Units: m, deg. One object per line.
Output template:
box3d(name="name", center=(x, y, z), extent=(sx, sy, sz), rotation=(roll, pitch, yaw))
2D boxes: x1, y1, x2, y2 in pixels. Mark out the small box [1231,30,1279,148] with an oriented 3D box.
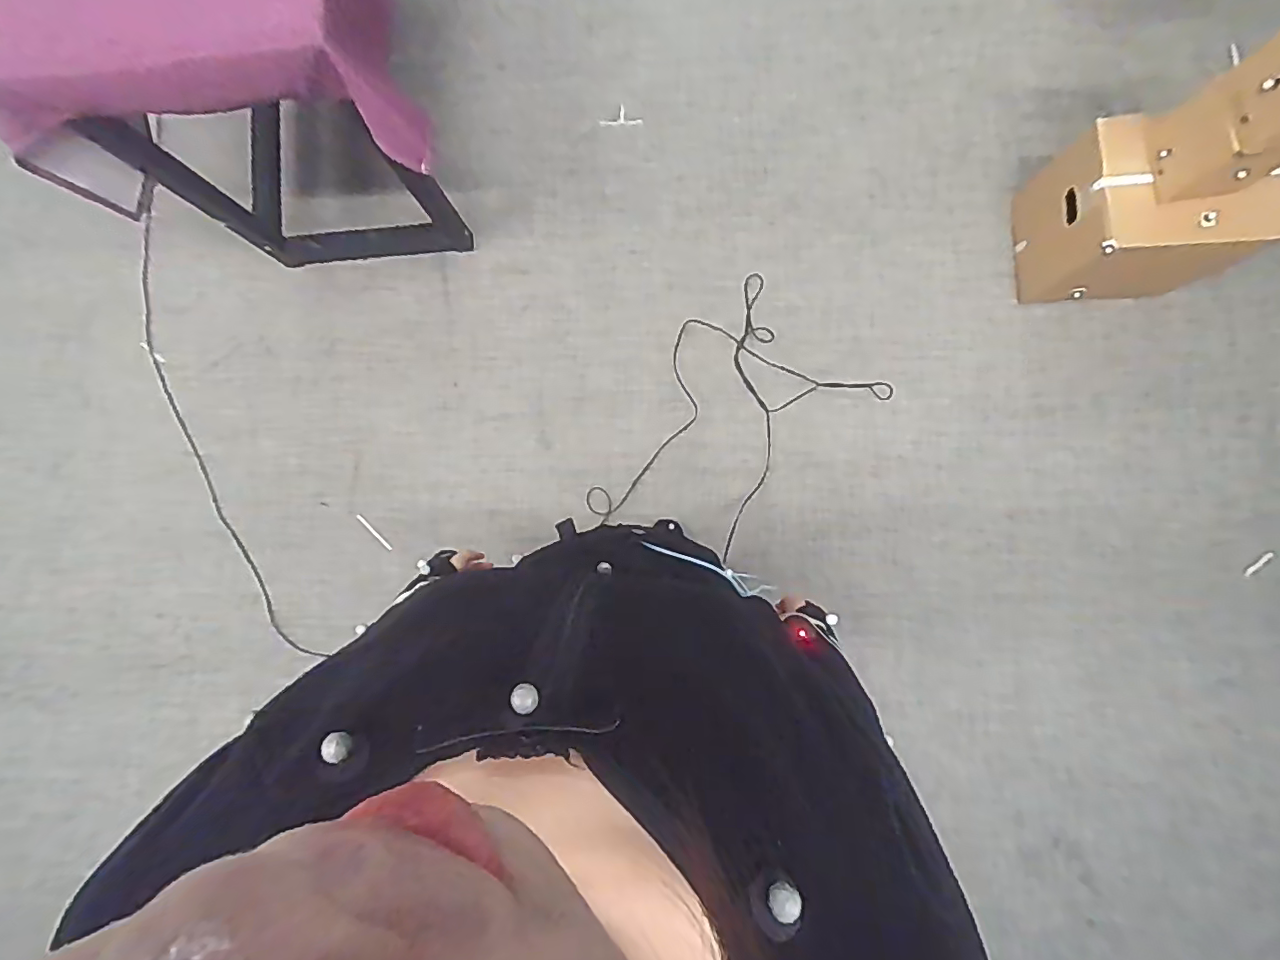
box3d(name="small box", center=(1.219, -0.726, 0.957), extent=(0.179, 0.176, 0.168), rotation=(-10, 85, 2))
